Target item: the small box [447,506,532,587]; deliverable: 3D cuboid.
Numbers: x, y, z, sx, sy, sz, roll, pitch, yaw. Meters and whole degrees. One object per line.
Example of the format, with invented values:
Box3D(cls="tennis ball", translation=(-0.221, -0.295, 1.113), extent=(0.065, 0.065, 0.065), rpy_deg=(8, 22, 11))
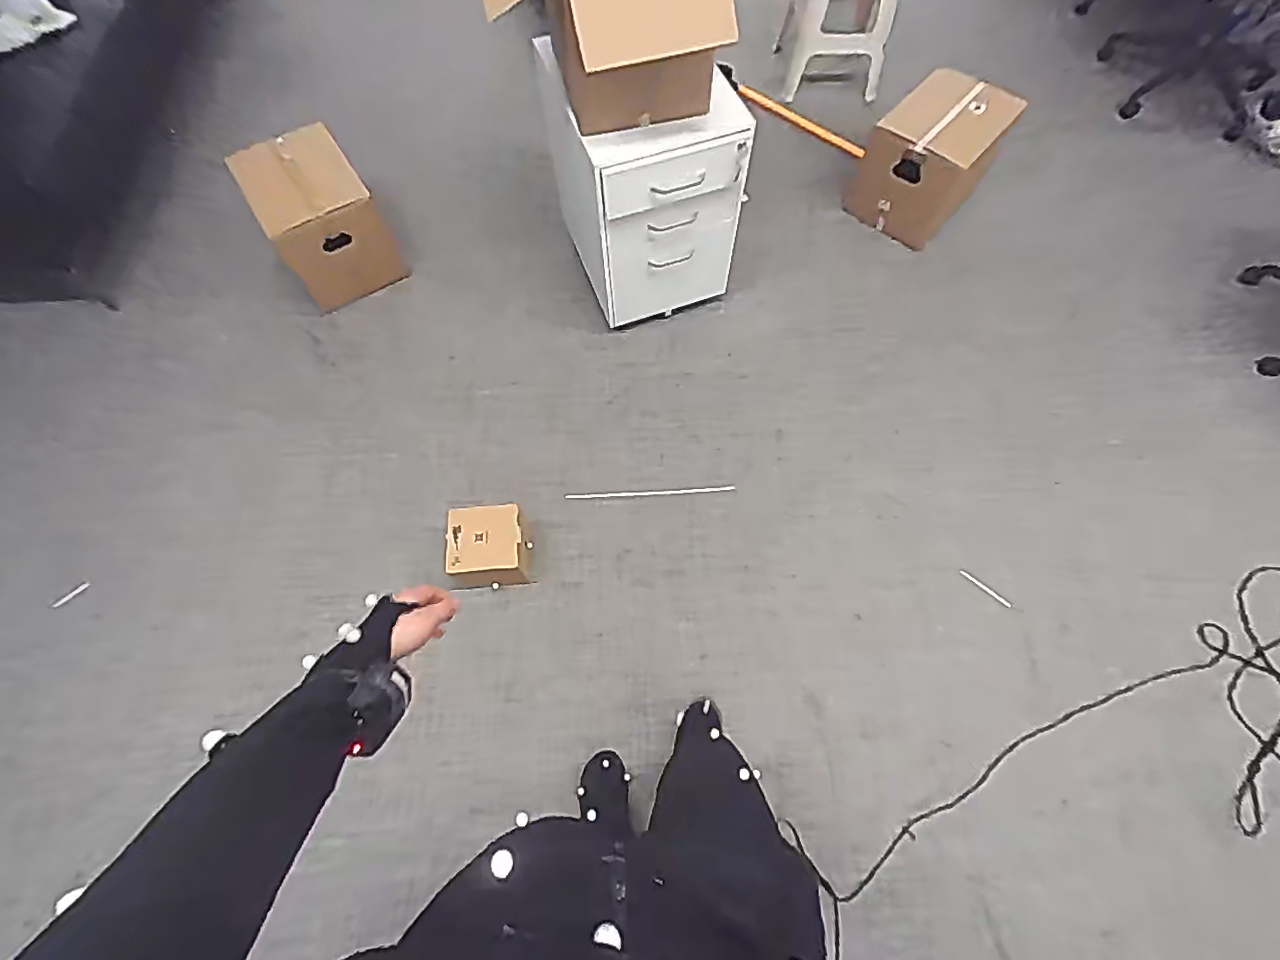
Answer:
Box3D(cls="small box", translation=(-0.380, 0.177, 1.399), extent=(0.179, 0.176, 0.168), rpy_deg=(-4, 66, -1))
